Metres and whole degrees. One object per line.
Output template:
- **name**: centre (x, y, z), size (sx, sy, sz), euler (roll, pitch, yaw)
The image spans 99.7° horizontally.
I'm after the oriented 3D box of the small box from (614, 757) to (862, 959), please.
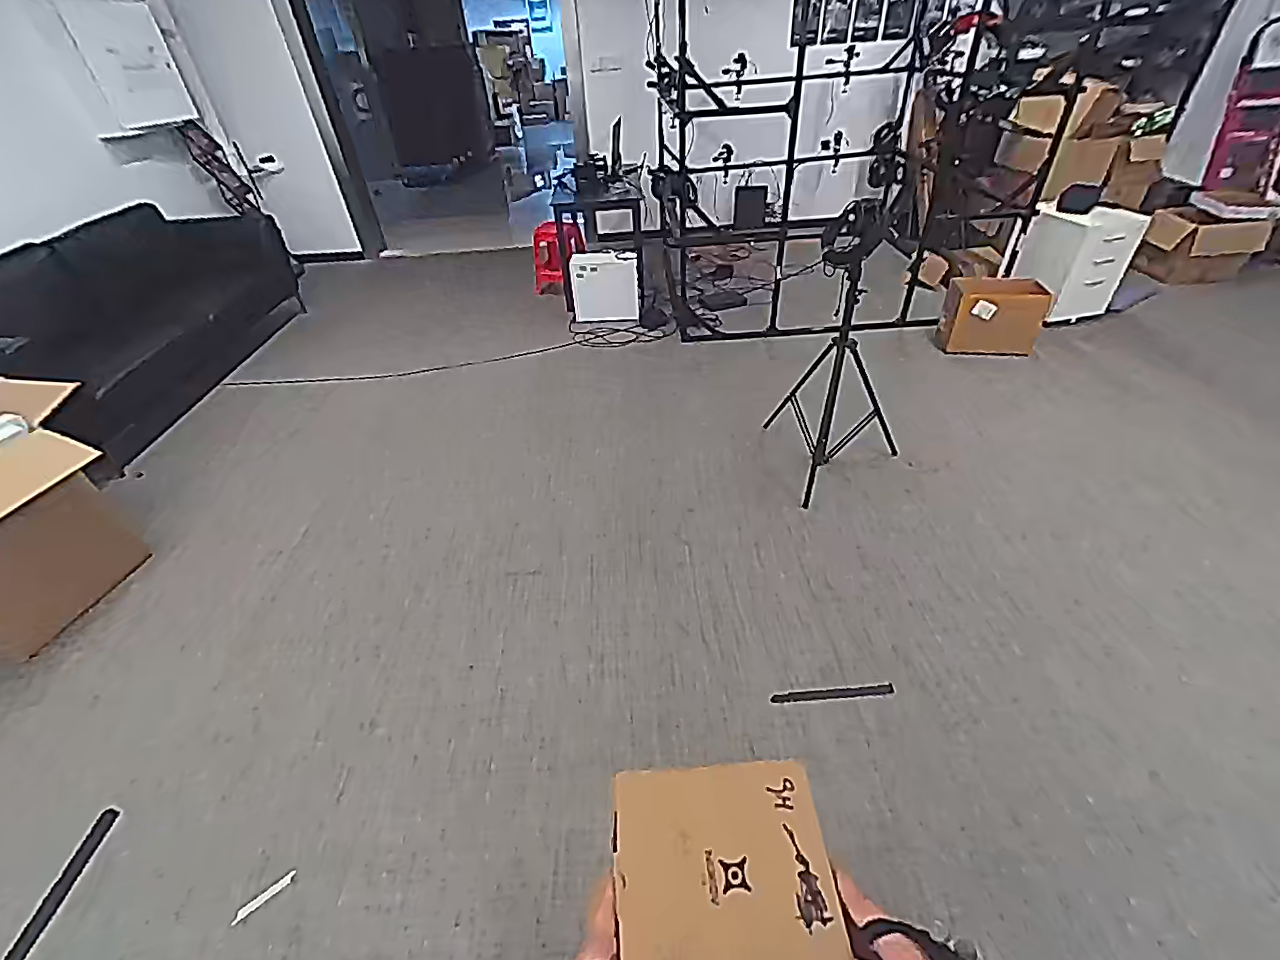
- **small box**: centre (0.072, 0.368, 0.480), size (0.179, 0.176, 0.168), euler (-4, 44, -2)
